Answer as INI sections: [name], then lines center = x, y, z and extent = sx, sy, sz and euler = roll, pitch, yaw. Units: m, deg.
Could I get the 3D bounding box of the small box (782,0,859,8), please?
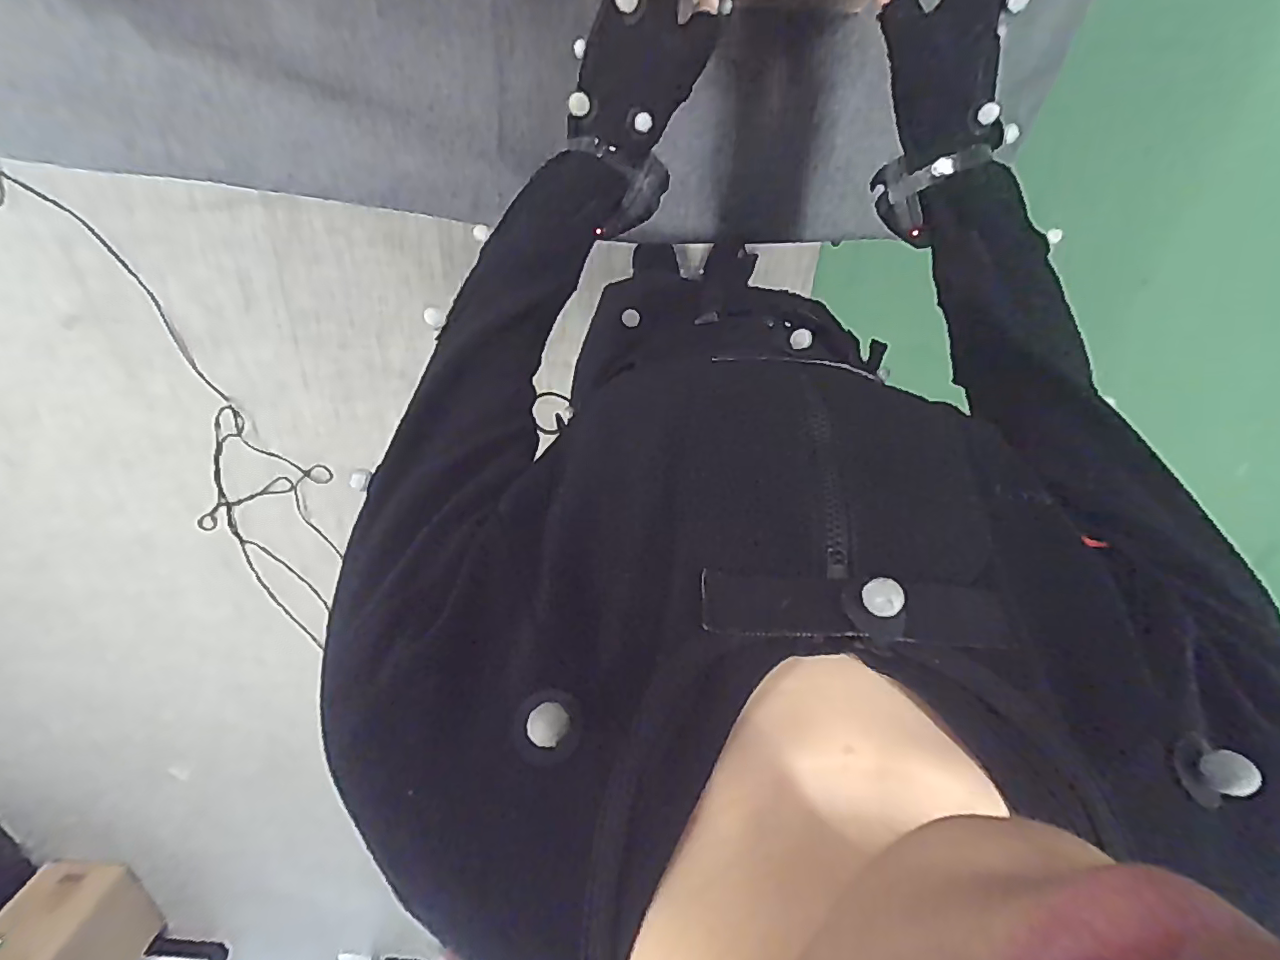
[small box]
center = 0.130, -0.497, 0.412
extent = 0.168, 0.176, 0.179
euler = 4, 116, 1
